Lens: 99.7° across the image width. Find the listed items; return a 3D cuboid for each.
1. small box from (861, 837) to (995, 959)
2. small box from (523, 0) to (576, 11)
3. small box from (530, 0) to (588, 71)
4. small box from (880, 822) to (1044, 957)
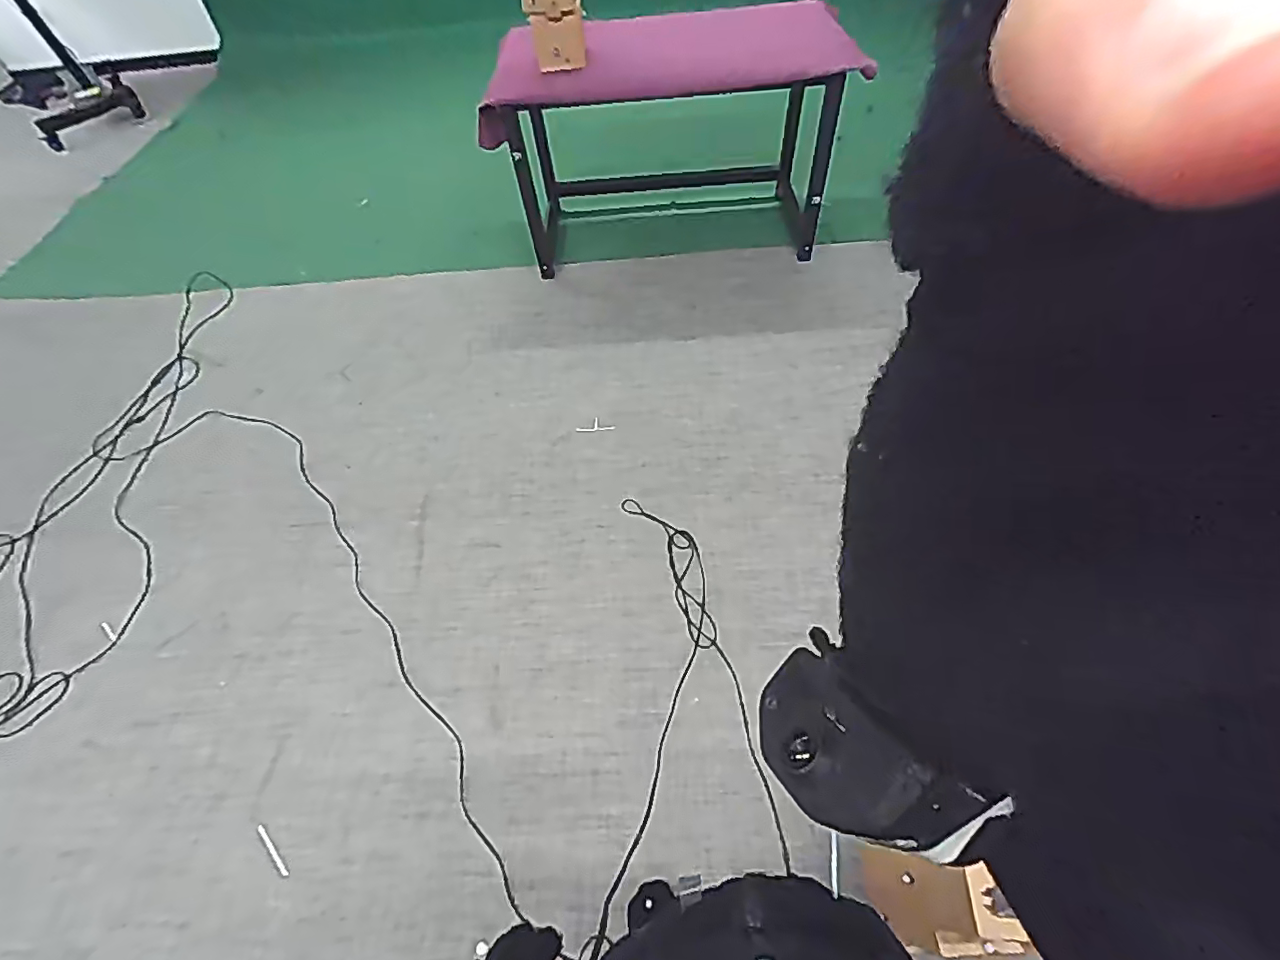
[{"bbox_3d":[0.556,0.816,1.070,0.168,0.176,0.179,0,56,3],"label":"small box"},{"bbox_3d":[-0.292,-1.616,1.710,0.168,0.176,0.179,0,56,4],"label":"small box"},{"bbox_3d":[-0.273,-1.538,1.854,0.168,0.176,0.179,-4,56,1],"label":"small box"},{"bbox_3d":[0.542,0.708,0.945,0.168,0.176,0.179,-3,56,2],"label":"small box"}]
